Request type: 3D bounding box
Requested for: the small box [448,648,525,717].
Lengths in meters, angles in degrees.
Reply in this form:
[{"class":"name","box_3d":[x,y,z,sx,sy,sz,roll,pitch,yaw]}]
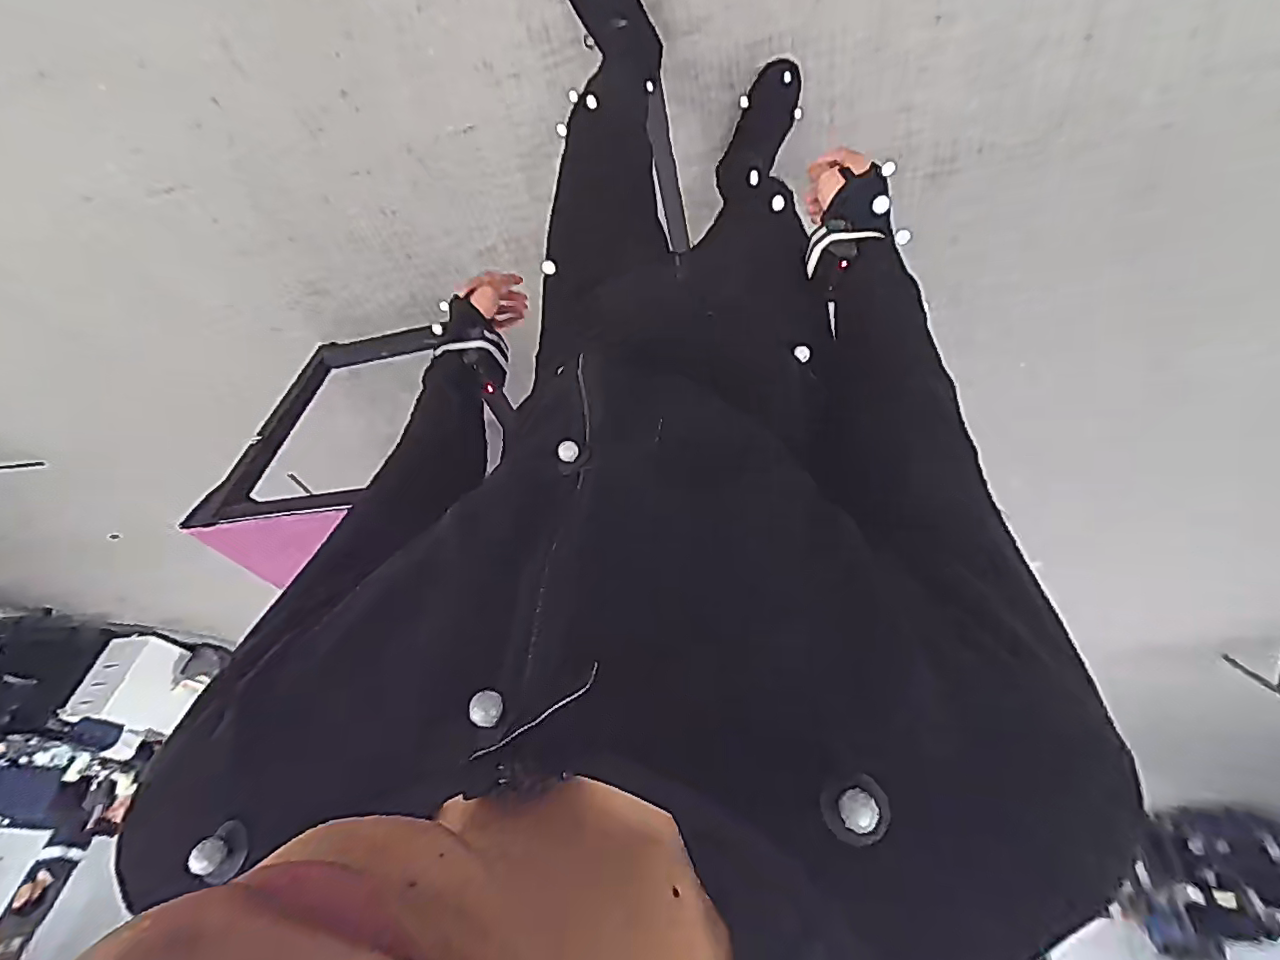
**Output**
[{"class":"small box","box_3d":[-0.513,0.688,1.835,0.179,0.176,0.168,-17,137,24]}]
